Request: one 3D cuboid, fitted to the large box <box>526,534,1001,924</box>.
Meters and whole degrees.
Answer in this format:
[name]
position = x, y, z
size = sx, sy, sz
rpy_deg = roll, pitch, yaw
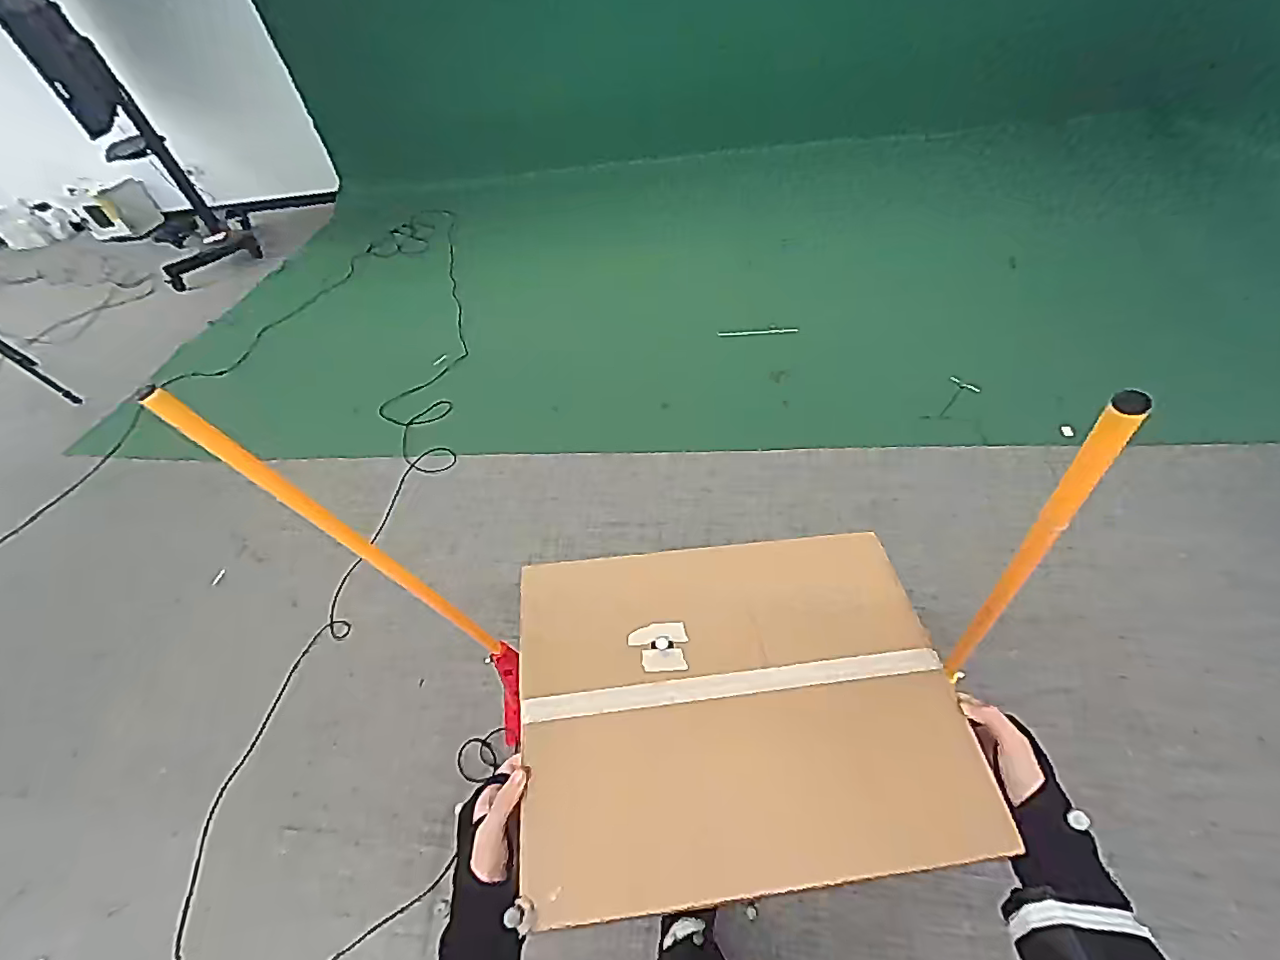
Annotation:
[large box]
position = 0.092, 0.294, 0.643
size = 0.408, 0.320, 0.320
rpy_deg = -6, 51, -4
